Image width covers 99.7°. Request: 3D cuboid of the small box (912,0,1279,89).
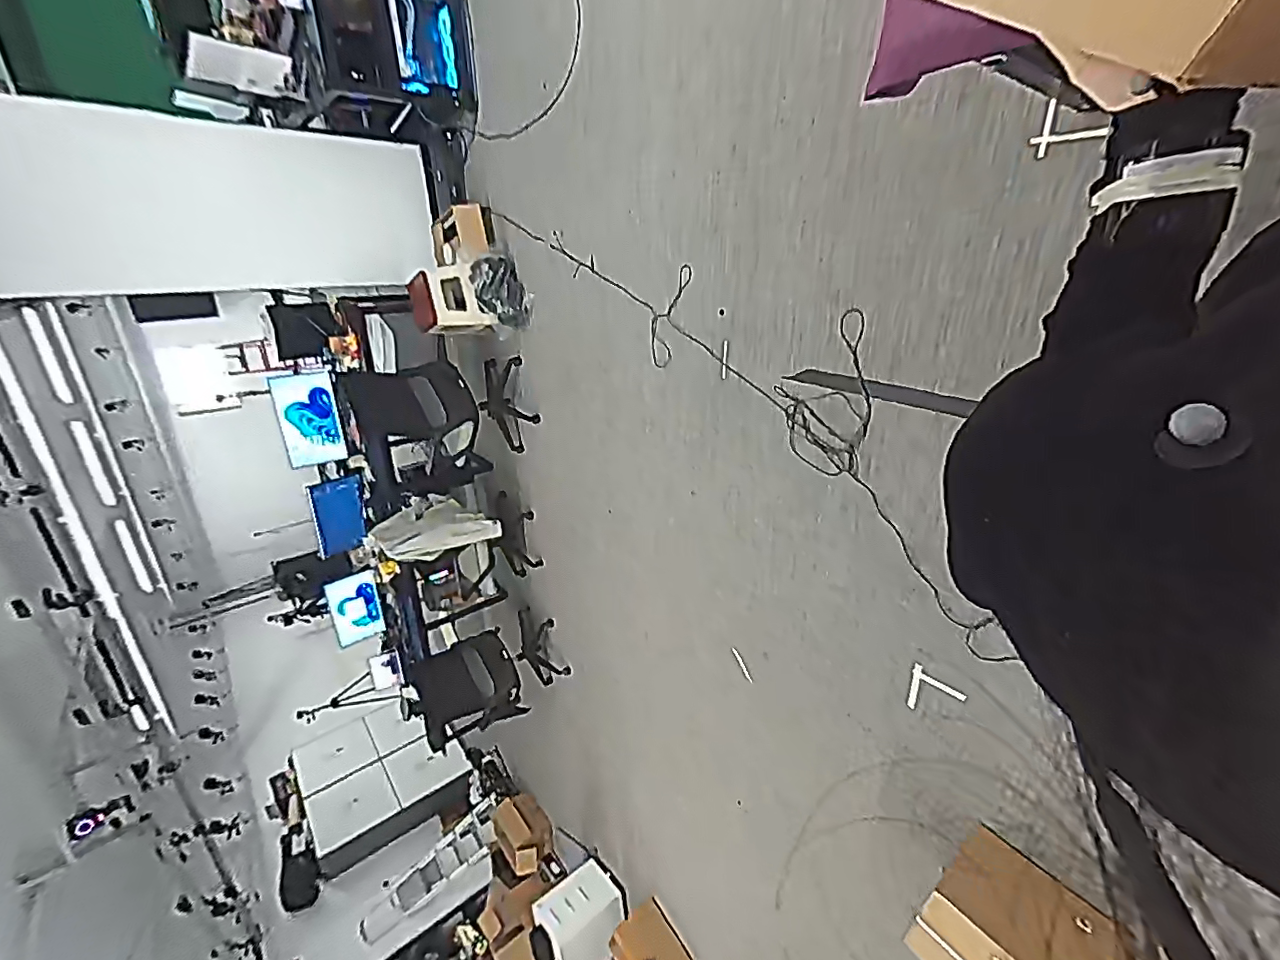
[{"bbox_3d":[0.276,-0.312,0.257,0.179,0.176,0.168,55,151,31],"label":"small box"}]
